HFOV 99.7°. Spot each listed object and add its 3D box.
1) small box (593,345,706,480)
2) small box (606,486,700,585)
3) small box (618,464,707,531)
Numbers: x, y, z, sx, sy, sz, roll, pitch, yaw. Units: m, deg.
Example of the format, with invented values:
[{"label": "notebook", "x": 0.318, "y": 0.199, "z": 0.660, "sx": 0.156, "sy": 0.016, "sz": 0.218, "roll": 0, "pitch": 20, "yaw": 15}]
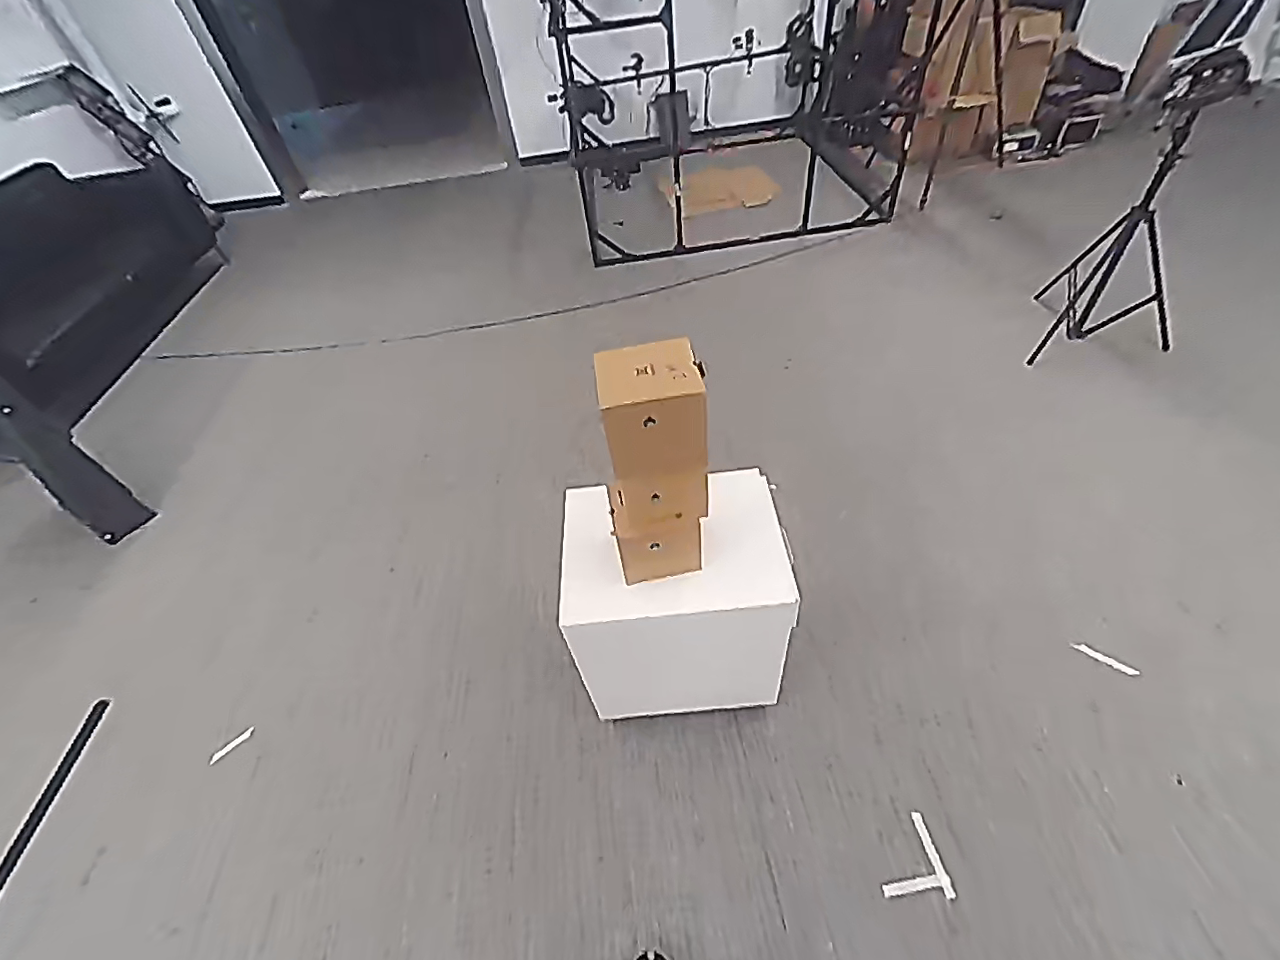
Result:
[{"label": "small box", "x": 0.019, "y": -0.117, "z": 0.974, "sx": 0.179, "sy": 0.176, "sz": 0.168, "roll": -9, "pitch": 46, "yaw": -1}, {"label": "small box", "x": 0.031, "y": 0.114, "z": 1.206, "sx": 0.179, "sy": 0.176, "sz": 0.168, "roll": -11, "pitch": 46, "yaw": -4}, {"label": "small box", "x": 0.037, "y": -0.013, "z": 1.101, "sx": 0.168, "sy": 0.176, "sz": 0.179, "roll": -11, "pitch": 45, "yaw": -3}]
